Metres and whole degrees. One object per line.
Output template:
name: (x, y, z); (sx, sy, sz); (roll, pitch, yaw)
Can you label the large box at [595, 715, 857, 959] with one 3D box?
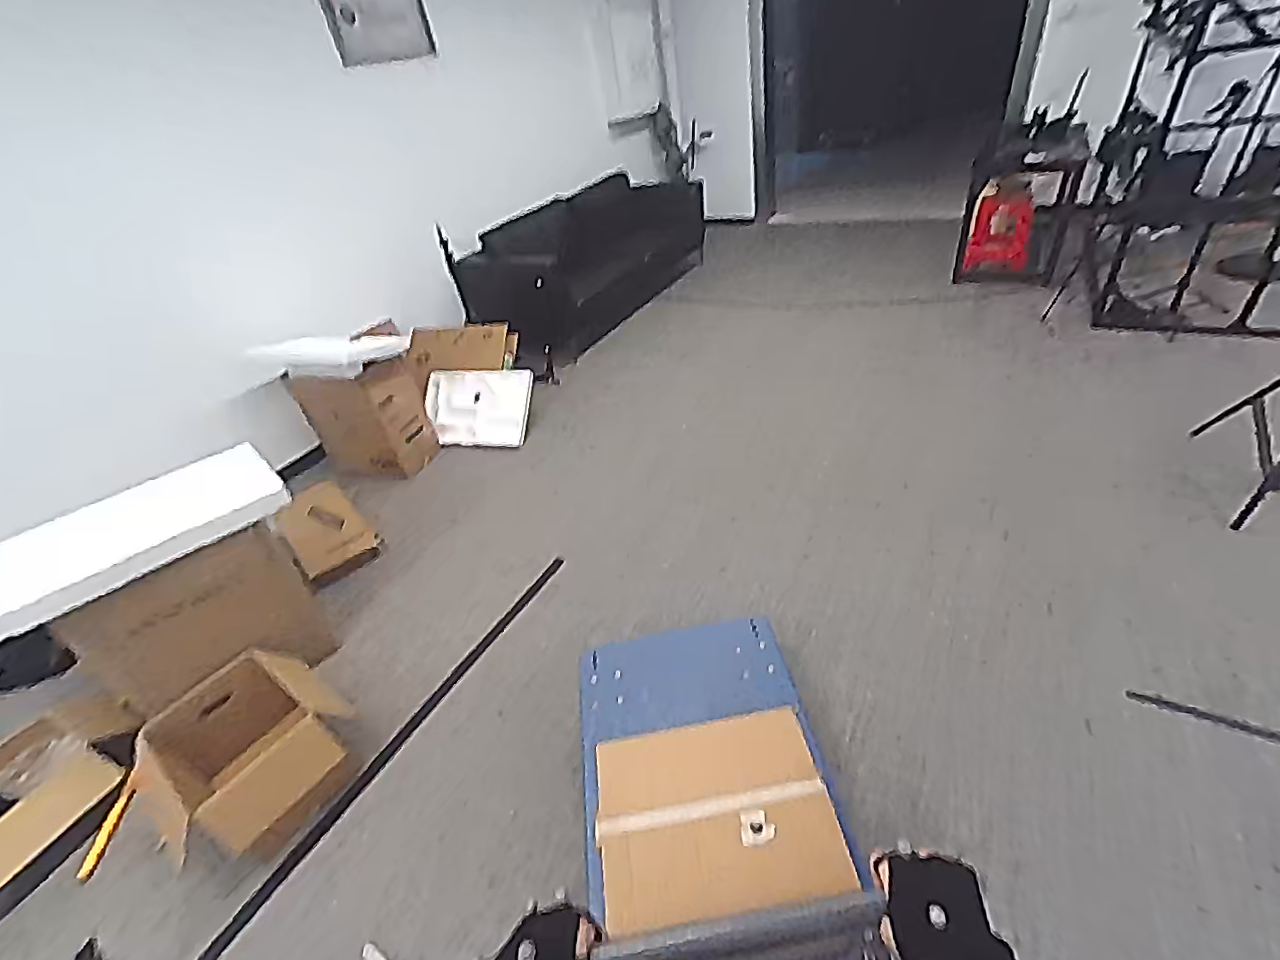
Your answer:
large box: (0.143, 0.713, 1.037); (0.408, 0.320, 0.320); (-10, 37, -2)
